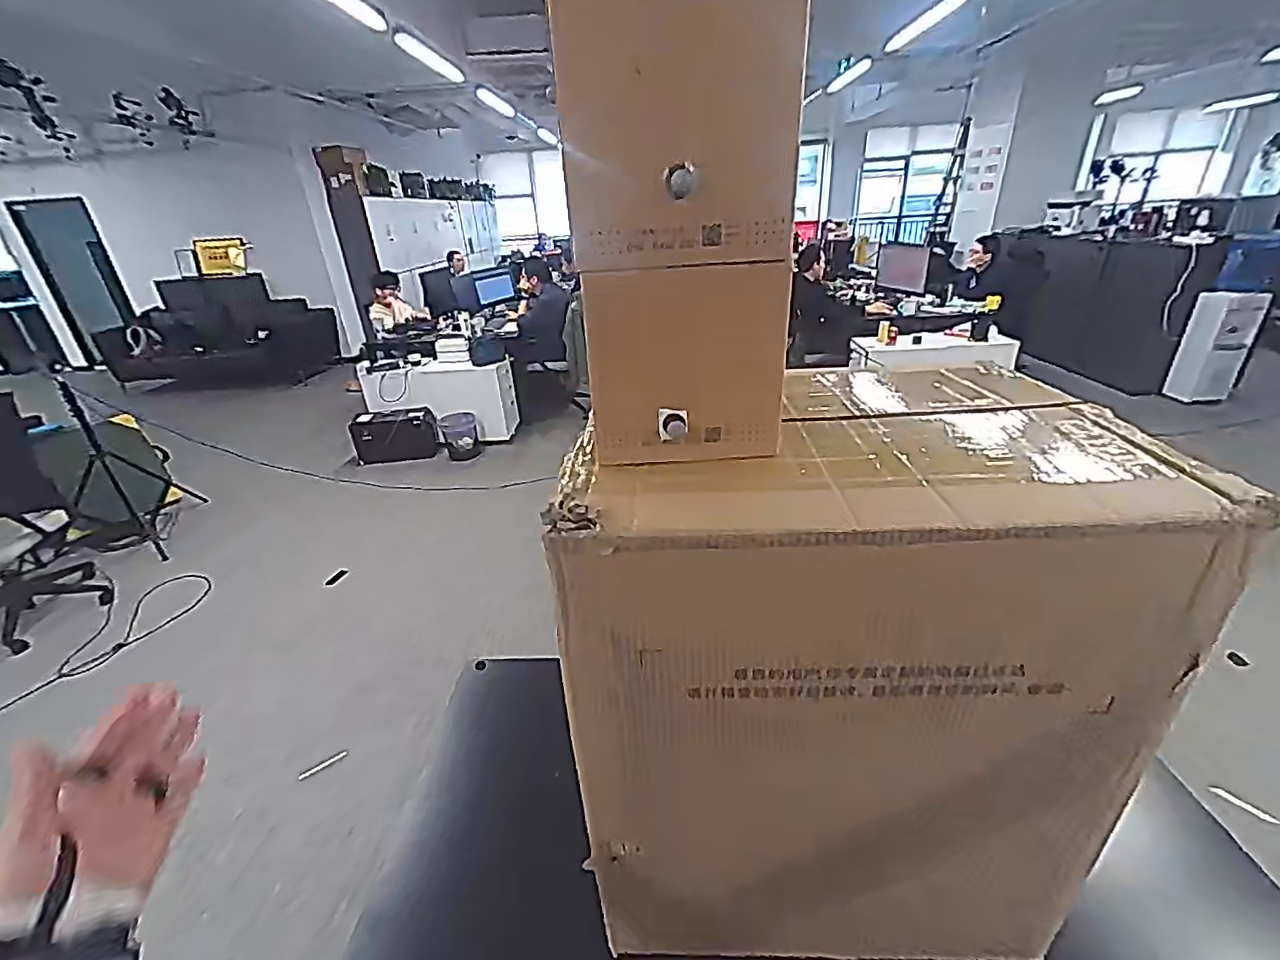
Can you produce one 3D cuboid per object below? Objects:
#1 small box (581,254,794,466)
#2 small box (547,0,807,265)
[{"bbox_3d":[0.035,-0.127,0.518,0.168,0.176,0.179,-5,28,-2],"label":"small box"},{"bbox_3d":[0.025,-0.272,0.440,0.168,0.176,0.179,-4,27,0],"label":"small box"}]
